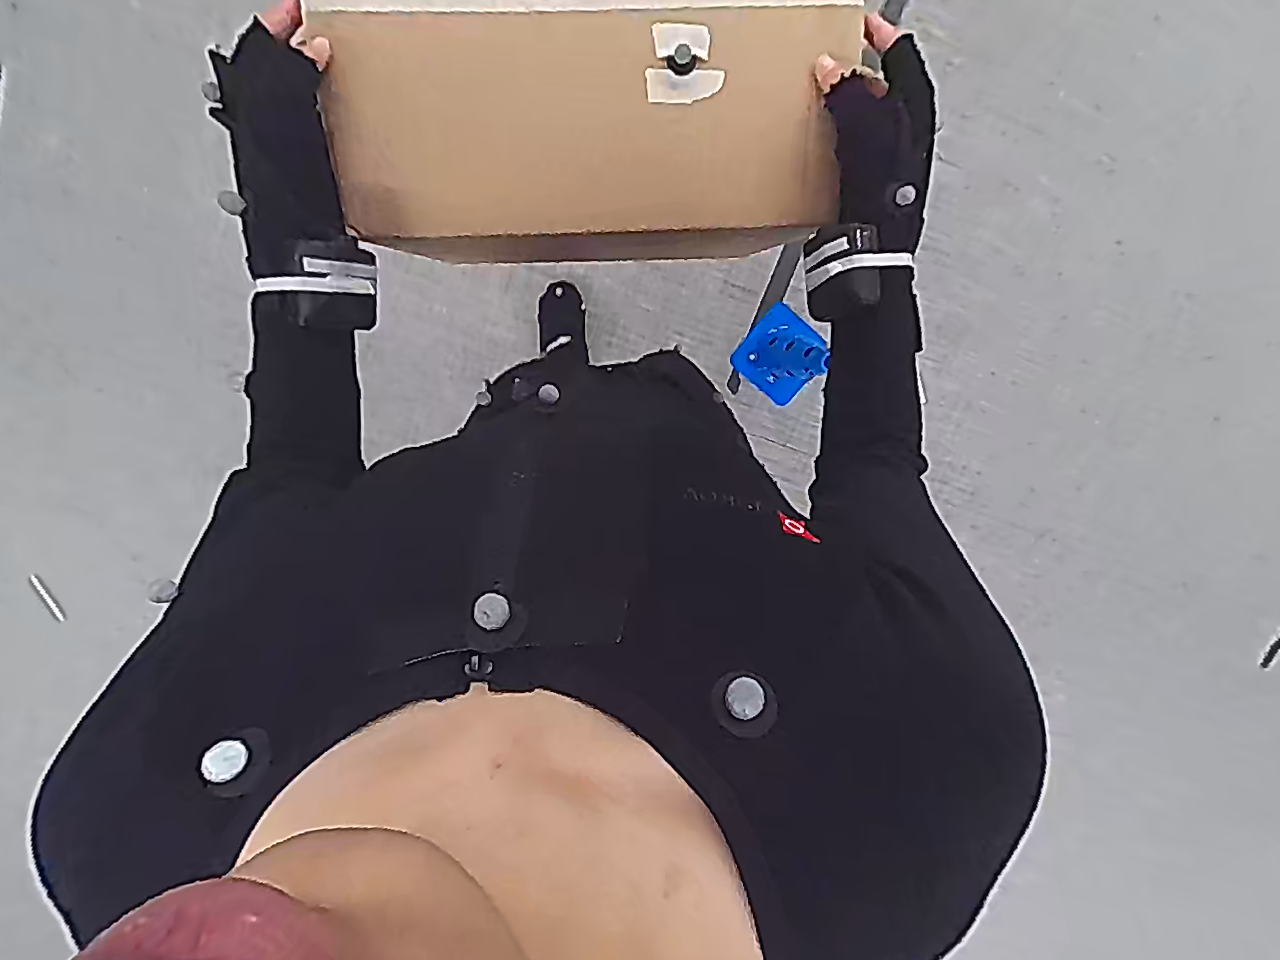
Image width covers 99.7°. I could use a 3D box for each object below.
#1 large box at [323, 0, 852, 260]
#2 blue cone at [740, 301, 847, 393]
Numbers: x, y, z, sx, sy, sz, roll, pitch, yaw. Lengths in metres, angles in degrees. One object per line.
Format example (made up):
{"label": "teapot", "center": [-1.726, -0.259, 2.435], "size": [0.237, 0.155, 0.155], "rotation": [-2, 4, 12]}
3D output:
{"label": "large box", "center": [-0.045, -0.407, 0.544], "size": [0.408, 0.320, 0.320], "rotation": [-2, 108, -3]}
{"label": "blue cone", "center": [0.379, -0.300, 1.241], "size": [0.193, 0.380, 0.192], "rotation": [40, 100, -10]}
